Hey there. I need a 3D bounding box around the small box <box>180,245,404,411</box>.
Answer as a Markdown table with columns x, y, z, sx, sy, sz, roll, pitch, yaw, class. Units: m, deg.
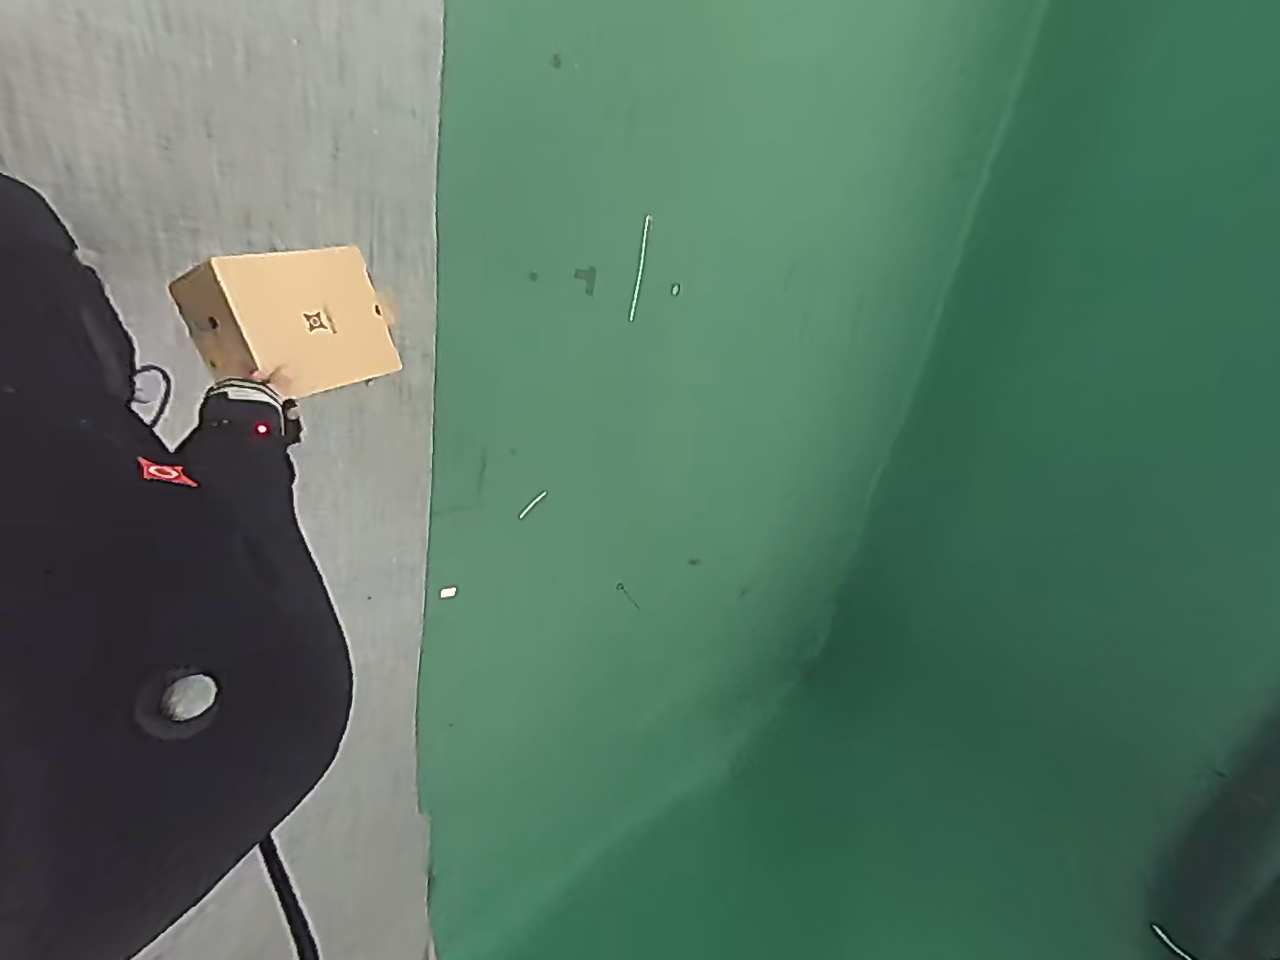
| x | y | z | sx | sy | sz | roll | pitch | yaw | class |
| --- | --- | --- | --- | --- | --- | --- | --- | --- | --- |
| -0.455 | -0.195 | 0.706 | 0.179 | 0.176 | 0.168 | -37 | 119 | -47 | small box |
